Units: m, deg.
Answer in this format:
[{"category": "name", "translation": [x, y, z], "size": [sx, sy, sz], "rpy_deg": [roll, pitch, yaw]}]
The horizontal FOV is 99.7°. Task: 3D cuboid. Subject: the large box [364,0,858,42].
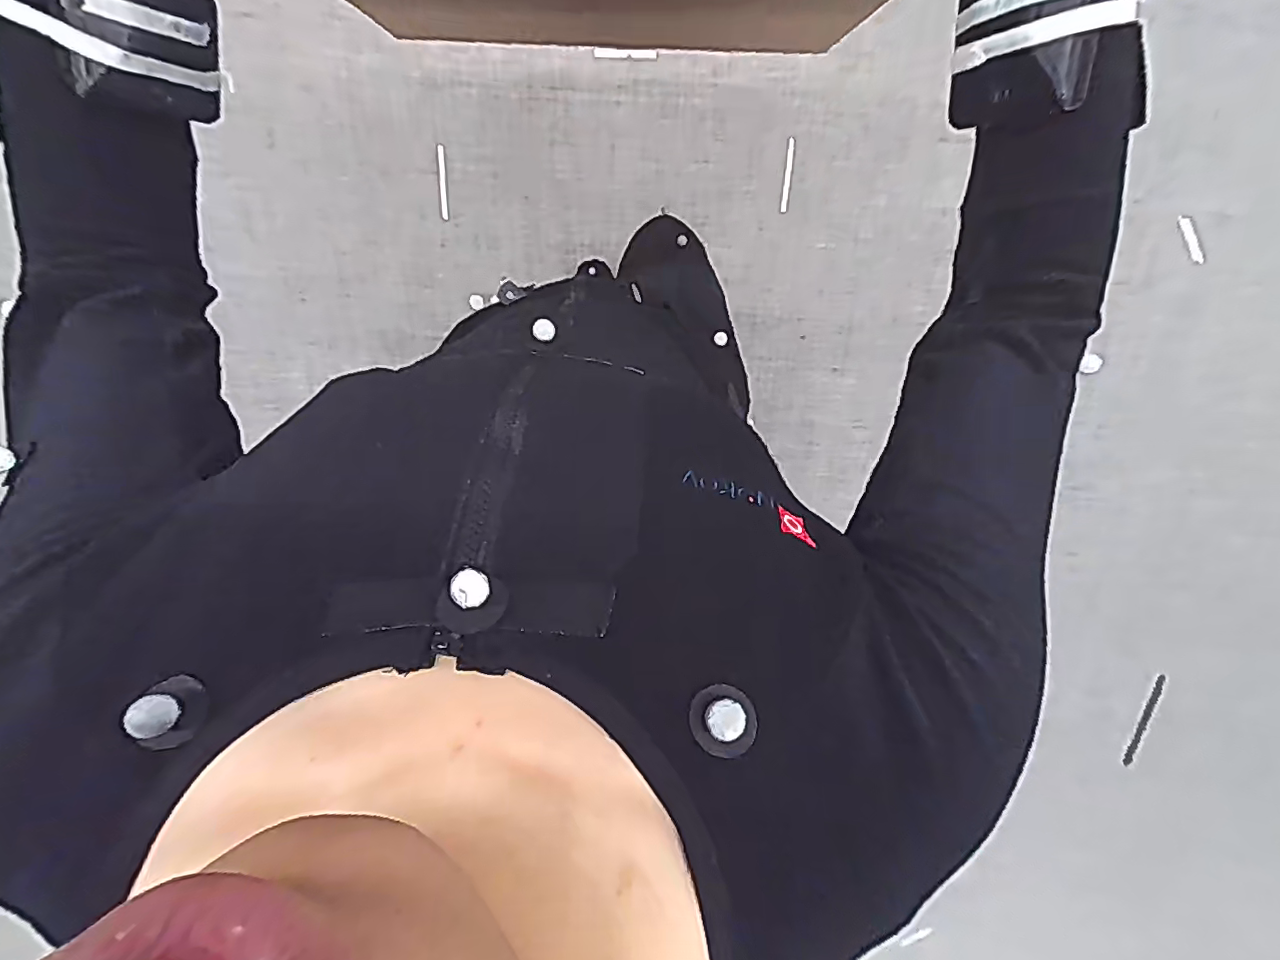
[{"category": "large box", "translation": [-0.021, -0.486, 0.307], "size": [0.408, 0.320, 0.320], "rpy_deg": [0, 116, -2]}]
